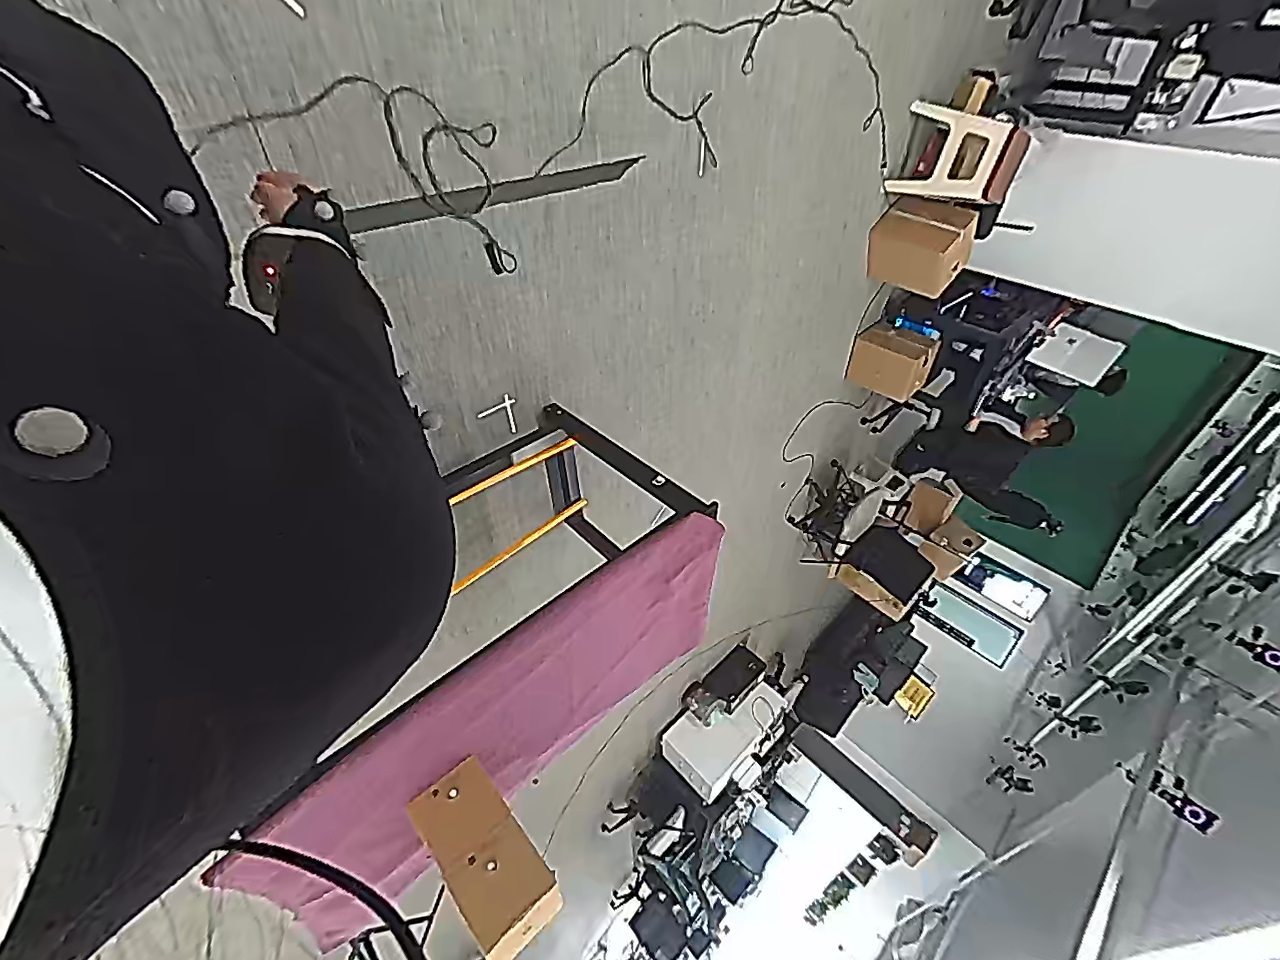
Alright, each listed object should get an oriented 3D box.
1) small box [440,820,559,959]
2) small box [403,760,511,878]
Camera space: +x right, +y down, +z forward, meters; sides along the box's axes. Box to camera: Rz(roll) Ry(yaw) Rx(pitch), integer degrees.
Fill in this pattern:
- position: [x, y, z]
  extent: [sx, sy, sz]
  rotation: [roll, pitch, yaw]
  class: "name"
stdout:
- position: [-0.285, 0.844, 1.107]
  extent: [0.168, 0.176, 0.179]
  rotation: [-31, 139, -34]
  class: "small box"
- position: [-0.396, 0.764, 1.198]
  extent: [0.168, 0.176, 0.179]
  rotation: [-30, 139, -34]
  class: "small box"
